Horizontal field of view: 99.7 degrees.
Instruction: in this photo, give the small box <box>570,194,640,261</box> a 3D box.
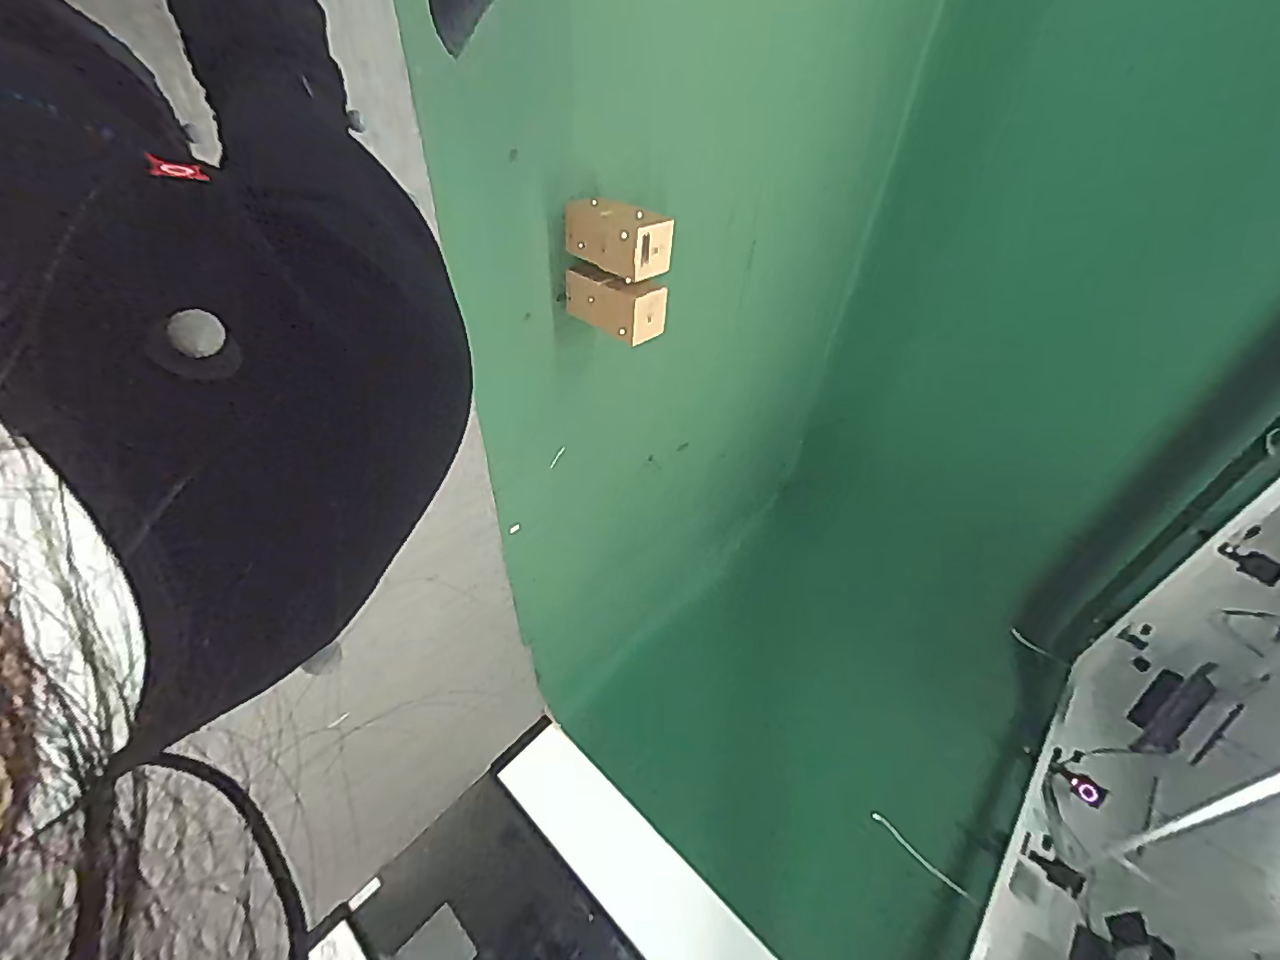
[{"bbox_3d":[-0.125,-0.866,1.844,0.179,0.176,0.168,-31,142,-37],"label":"small box"}]
